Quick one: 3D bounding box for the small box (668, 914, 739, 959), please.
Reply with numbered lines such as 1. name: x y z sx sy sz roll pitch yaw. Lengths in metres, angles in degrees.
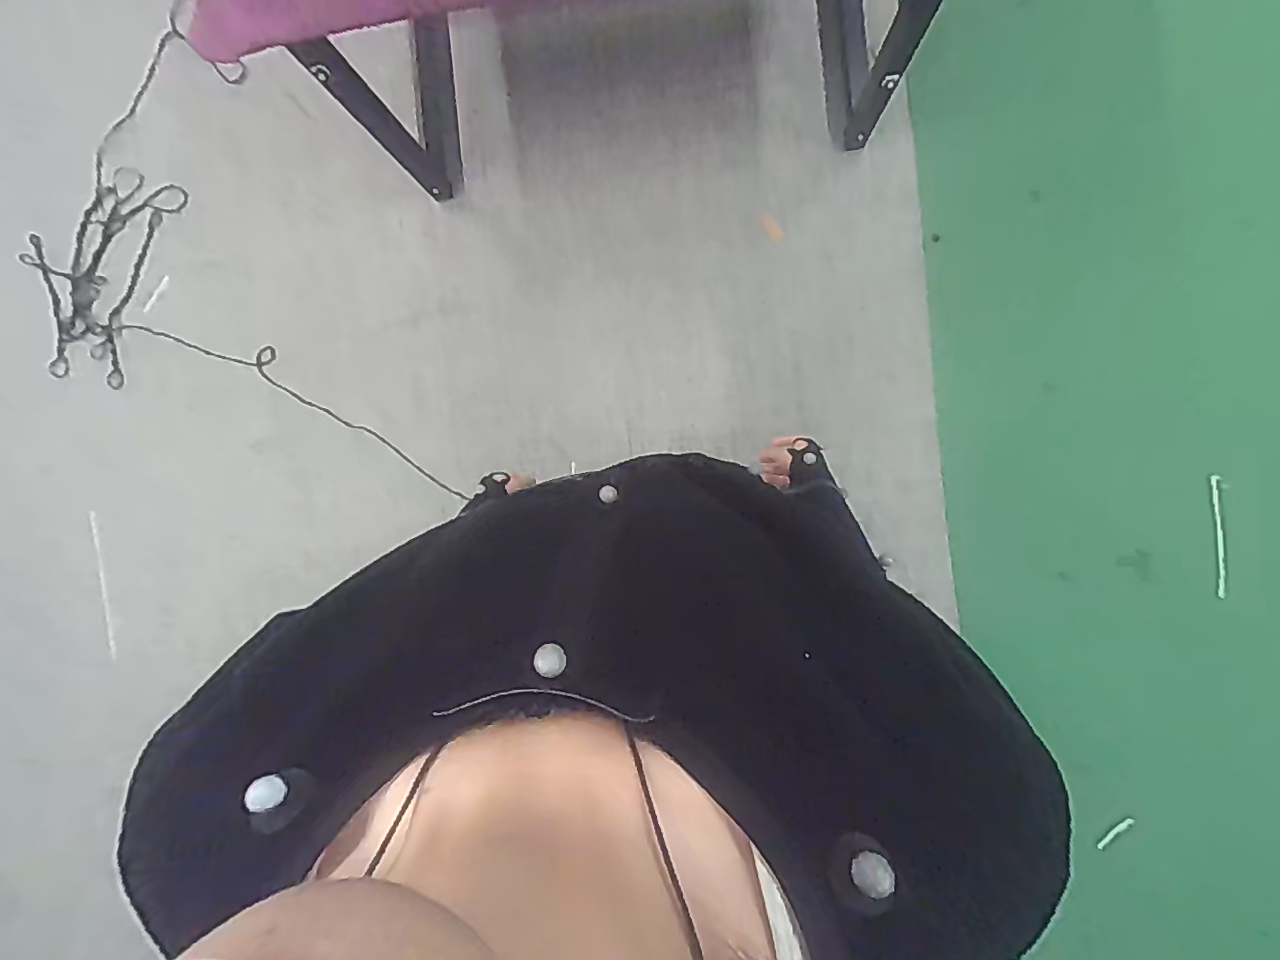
1. small box: 0.148 1.181 1.282 0.168 0.176 0.179 2 92 6
